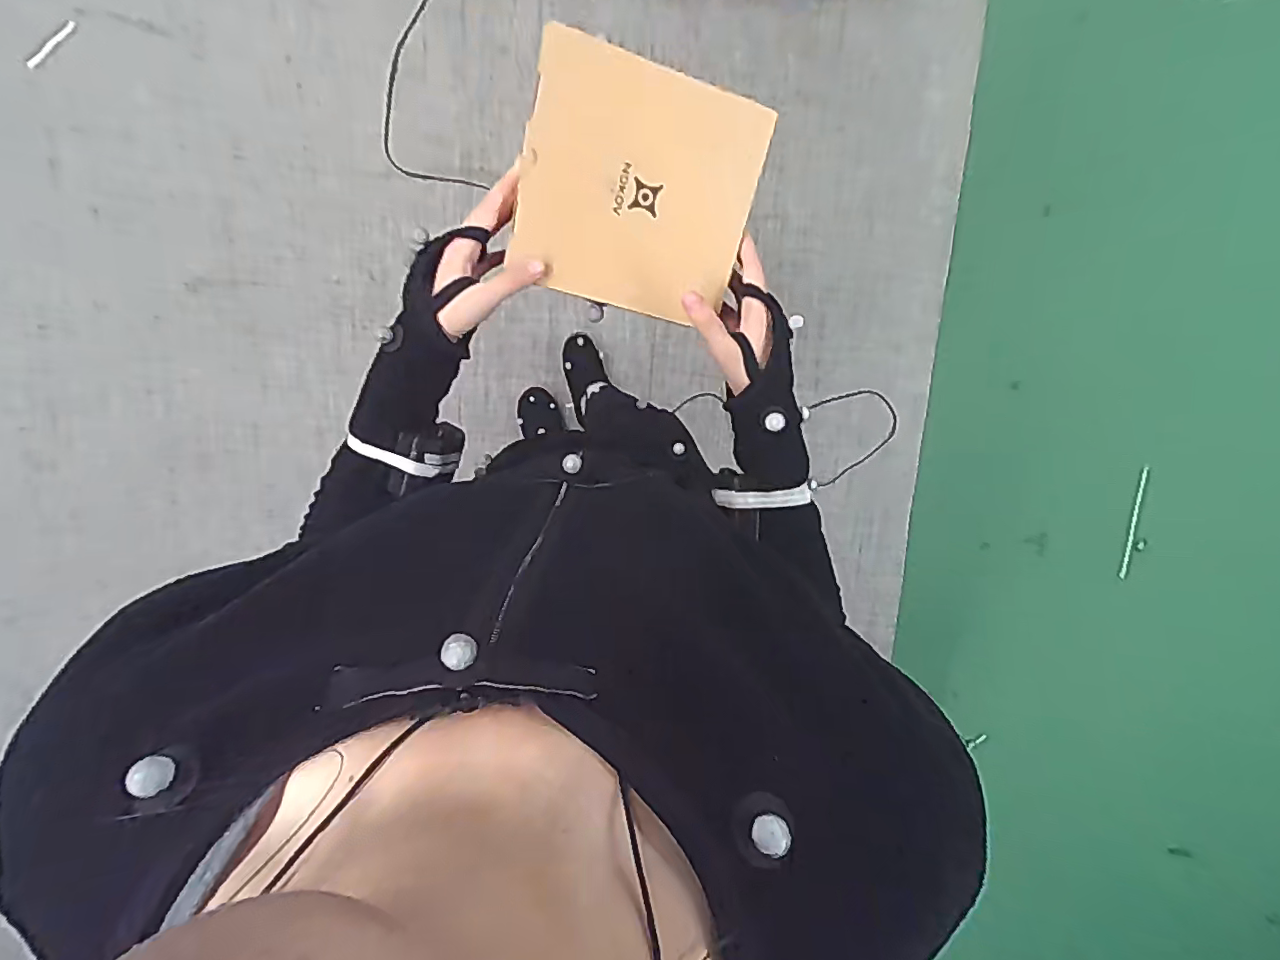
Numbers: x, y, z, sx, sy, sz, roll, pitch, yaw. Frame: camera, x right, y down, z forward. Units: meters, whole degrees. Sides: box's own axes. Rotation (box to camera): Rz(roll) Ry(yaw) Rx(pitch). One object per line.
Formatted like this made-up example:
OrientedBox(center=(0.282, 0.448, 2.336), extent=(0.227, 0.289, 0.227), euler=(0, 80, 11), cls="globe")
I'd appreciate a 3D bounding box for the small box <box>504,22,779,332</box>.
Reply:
OrientedBox(center=(-0.013, -0.240, 0.474), extent=(0.179, 0.176, 0.168), euler=(12, 107, -15), cls="small box")
